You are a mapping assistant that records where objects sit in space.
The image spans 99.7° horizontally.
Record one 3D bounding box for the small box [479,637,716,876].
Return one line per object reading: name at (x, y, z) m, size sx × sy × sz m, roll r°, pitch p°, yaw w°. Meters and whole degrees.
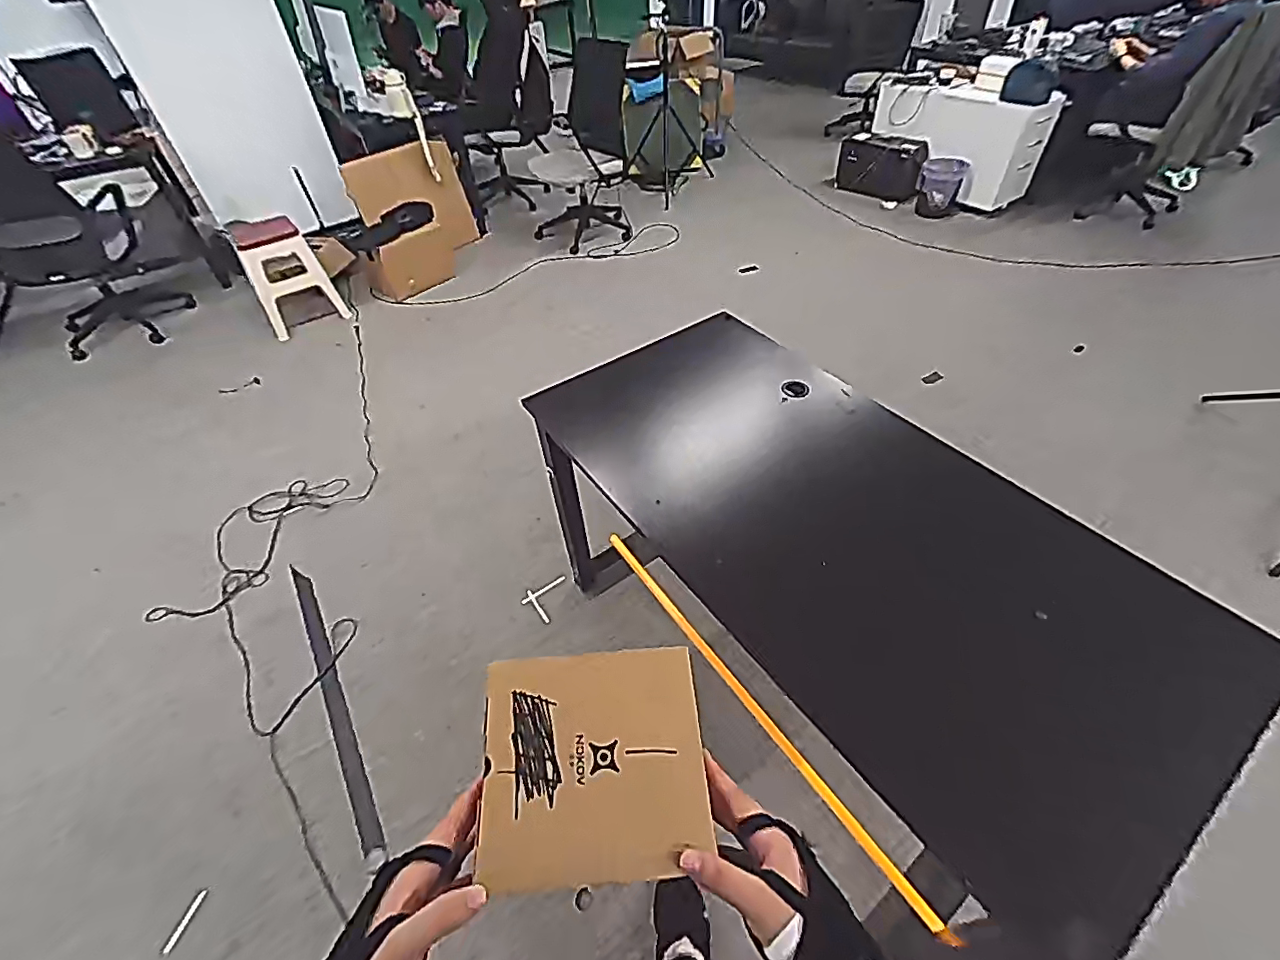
small box at (-0.038, 0.259, 0.501) m, size 0.179 × 0.176 × 0.168 m, roll -3°, pitch 55°, yaw -5°
